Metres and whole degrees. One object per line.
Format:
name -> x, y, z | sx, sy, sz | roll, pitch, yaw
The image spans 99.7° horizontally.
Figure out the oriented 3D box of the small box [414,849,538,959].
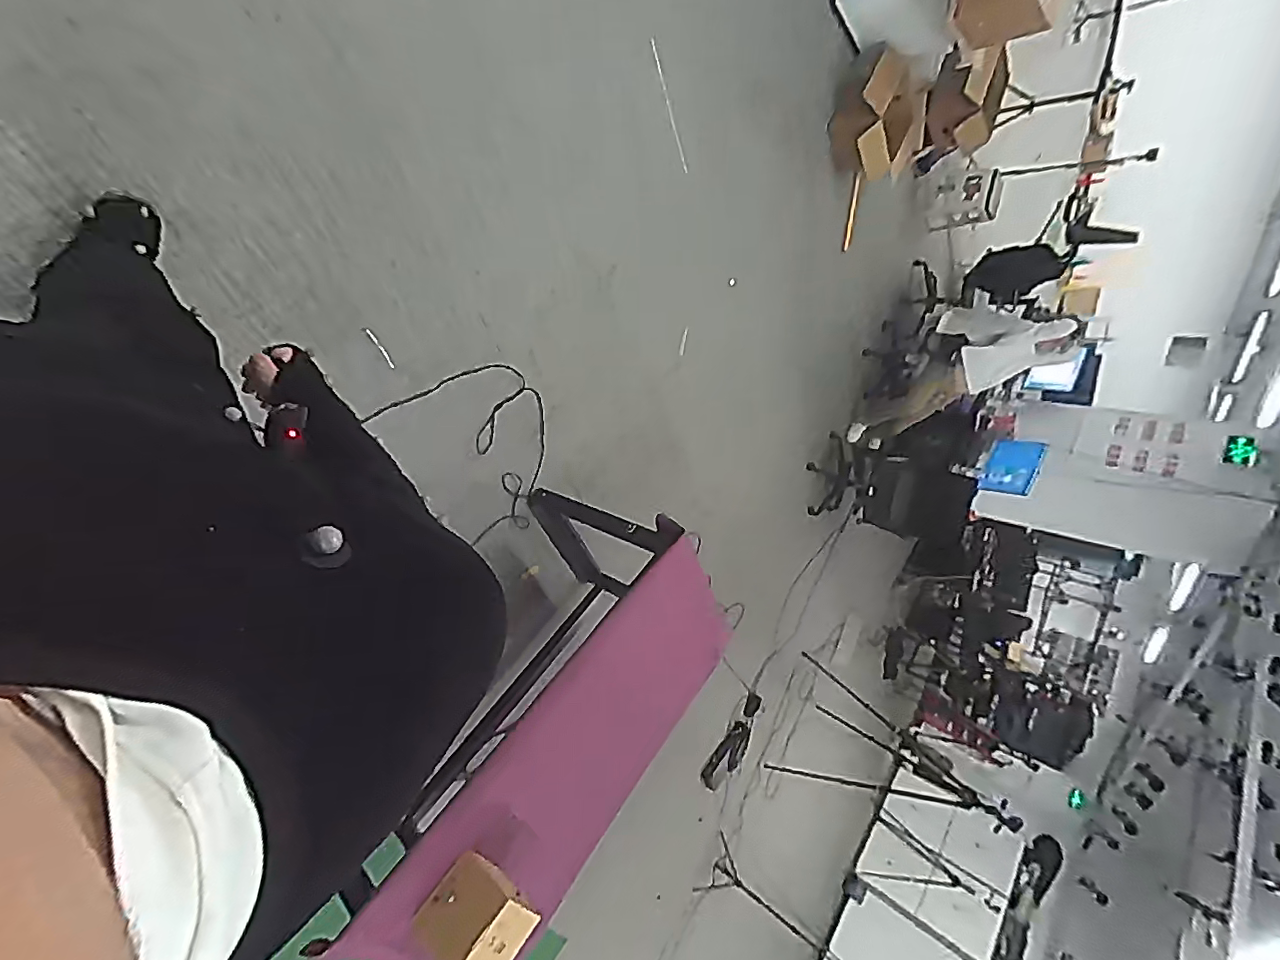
small box -> -0.368, 0.982, 1.223 | 0.168, 0.176, 0.179 | -47, 135, -29
